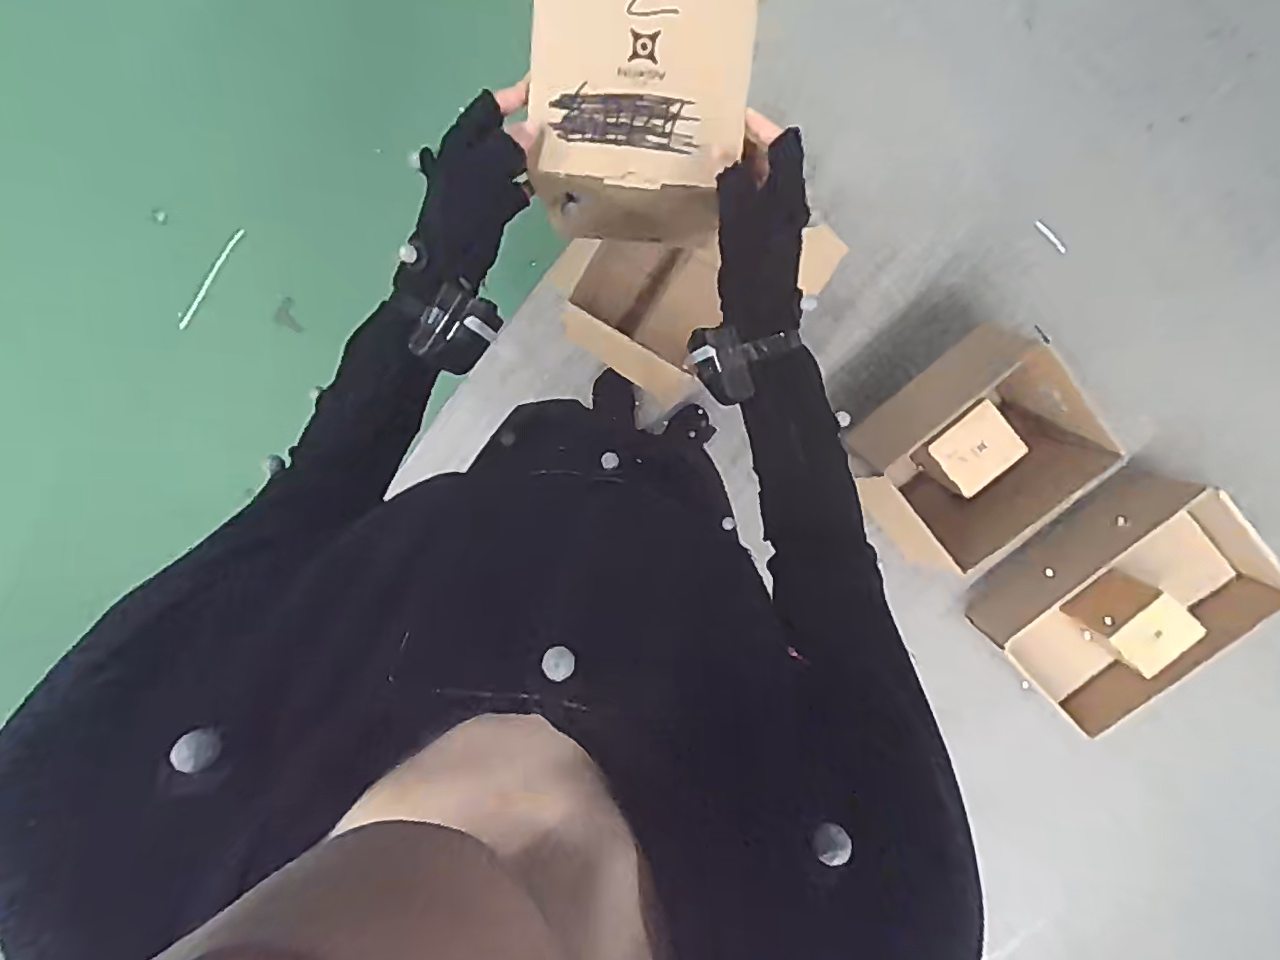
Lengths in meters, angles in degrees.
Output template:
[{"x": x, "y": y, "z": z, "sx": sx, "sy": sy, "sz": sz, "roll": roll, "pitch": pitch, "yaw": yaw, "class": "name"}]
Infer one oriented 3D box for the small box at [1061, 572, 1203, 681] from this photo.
[{"x": 1.260, "y": 0.370, "z": 1.400, "sx": 0.168, "sy": 0.176, "sz": 0.179, "roll": 40, "pitch": 101, "yaw": -8, "class": "small box"}]
